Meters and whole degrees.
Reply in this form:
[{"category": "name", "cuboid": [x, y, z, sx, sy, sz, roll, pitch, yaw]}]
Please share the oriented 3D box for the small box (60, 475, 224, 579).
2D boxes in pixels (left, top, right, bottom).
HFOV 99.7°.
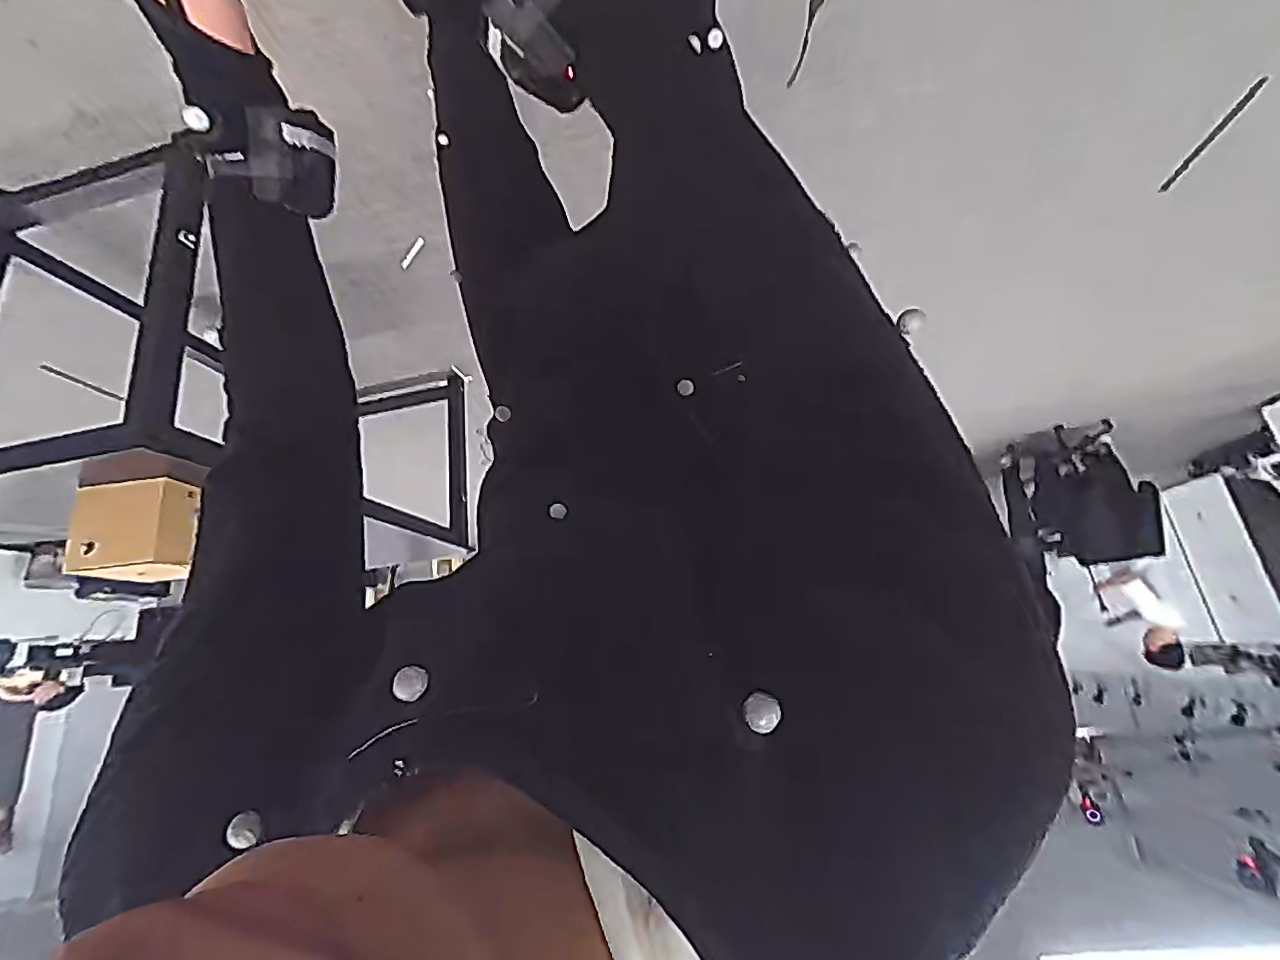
[{"category": "small box", "cuboid": [-0.981, 0.098, 1.084, 0.179, 0.176, 0.168, -7, 164, 1]}]
